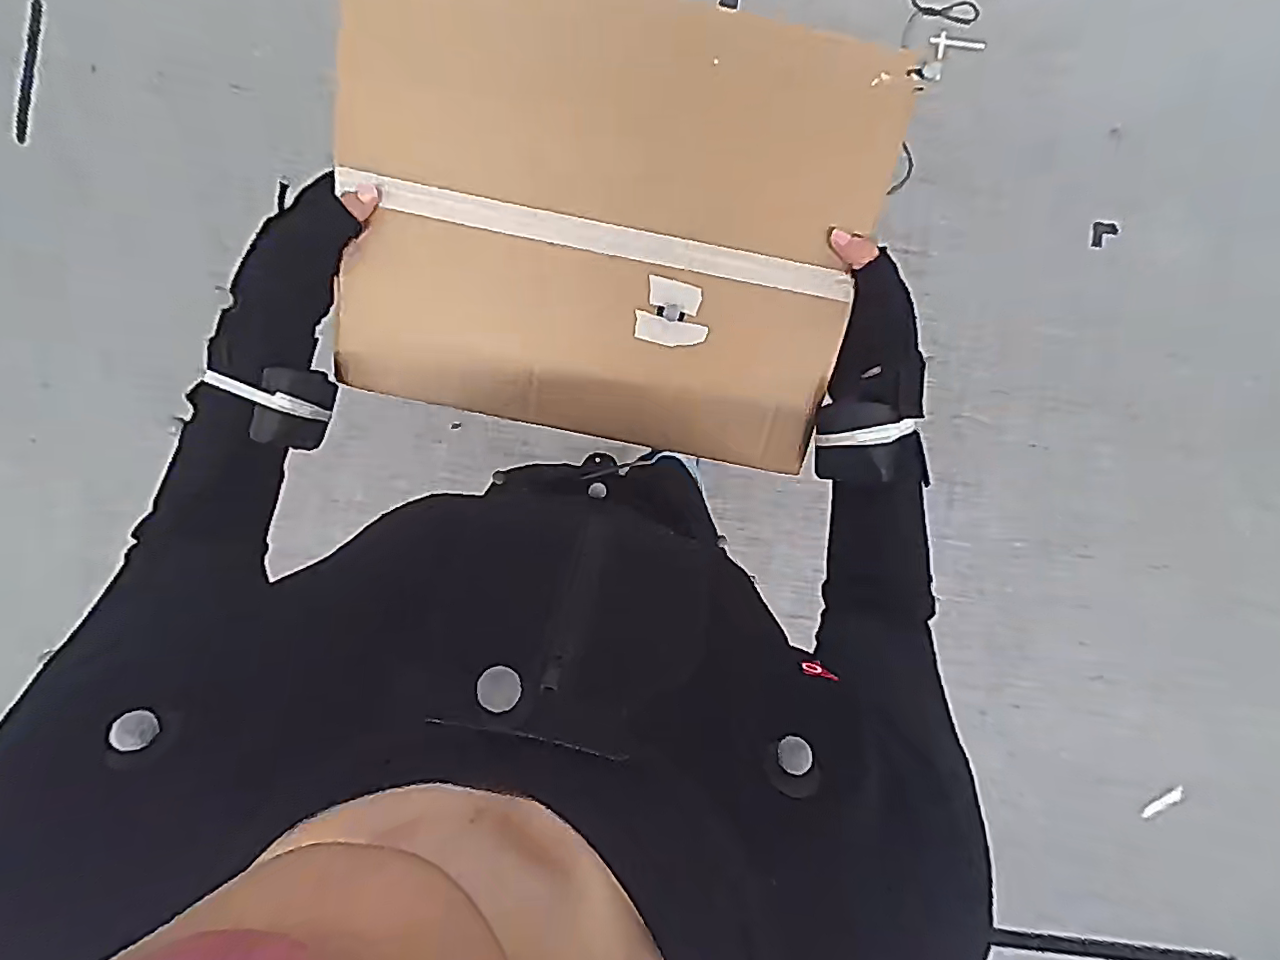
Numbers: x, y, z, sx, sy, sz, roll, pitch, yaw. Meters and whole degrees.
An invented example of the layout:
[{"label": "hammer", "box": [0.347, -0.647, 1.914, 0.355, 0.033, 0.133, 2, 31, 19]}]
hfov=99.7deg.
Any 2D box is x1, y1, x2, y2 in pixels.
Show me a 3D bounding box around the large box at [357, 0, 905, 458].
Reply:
[{"label": "large box", "box": [-0.025, -0.242, 0.575, 0.408, 0.320, 0.320, 11, 109, -2]}]
